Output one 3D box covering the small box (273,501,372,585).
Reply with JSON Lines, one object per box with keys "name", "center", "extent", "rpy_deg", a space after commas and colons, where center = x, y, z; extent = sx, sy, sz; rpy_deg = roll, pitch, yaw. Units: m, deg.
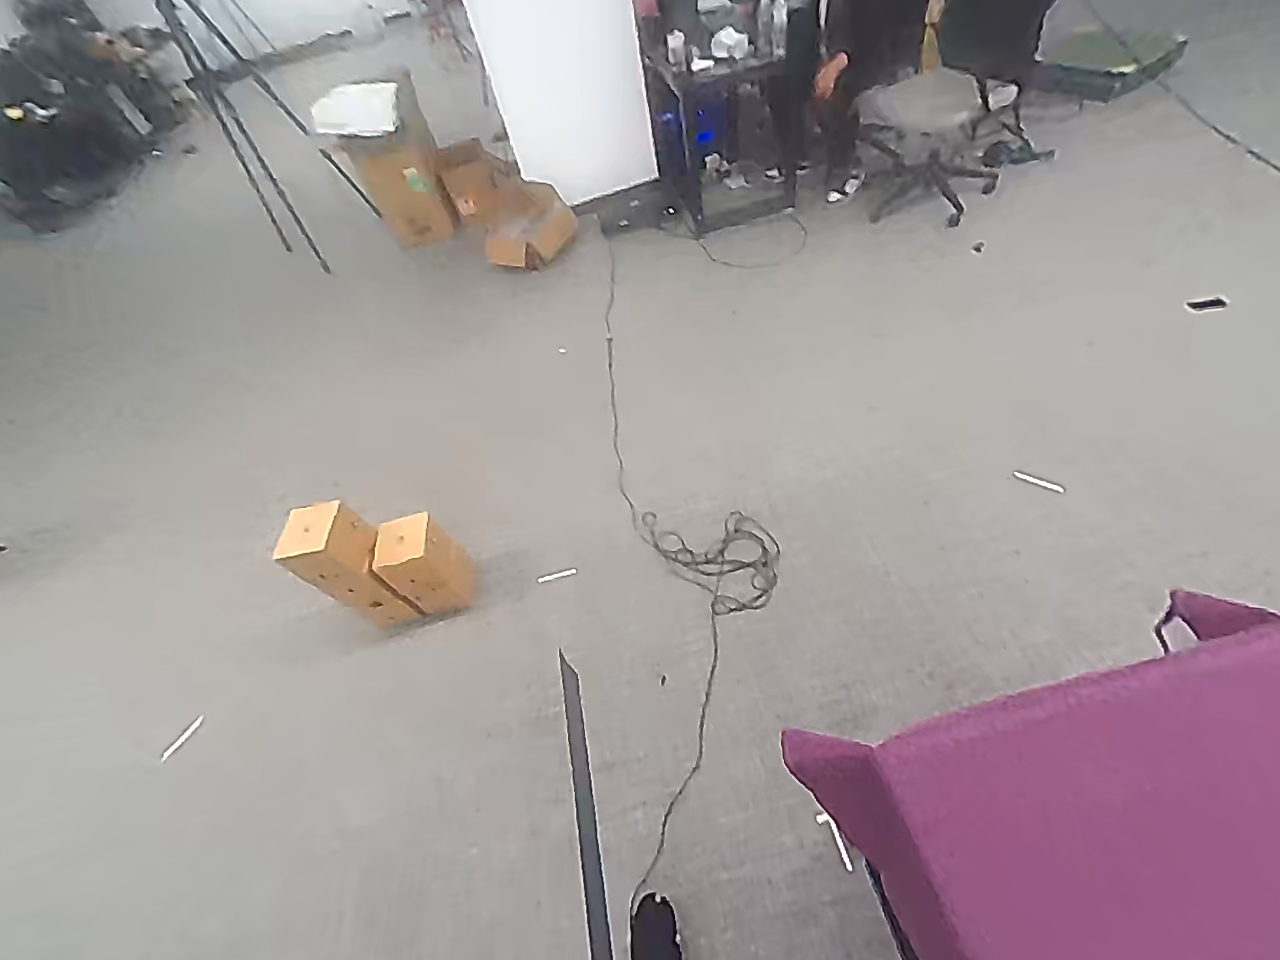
{"name": "small box", "center": [-0.933, 0.190, 1.611], "extent": [0.168, 0.176, 0.179], "rpy_deg": [-11, 51, 7]}
